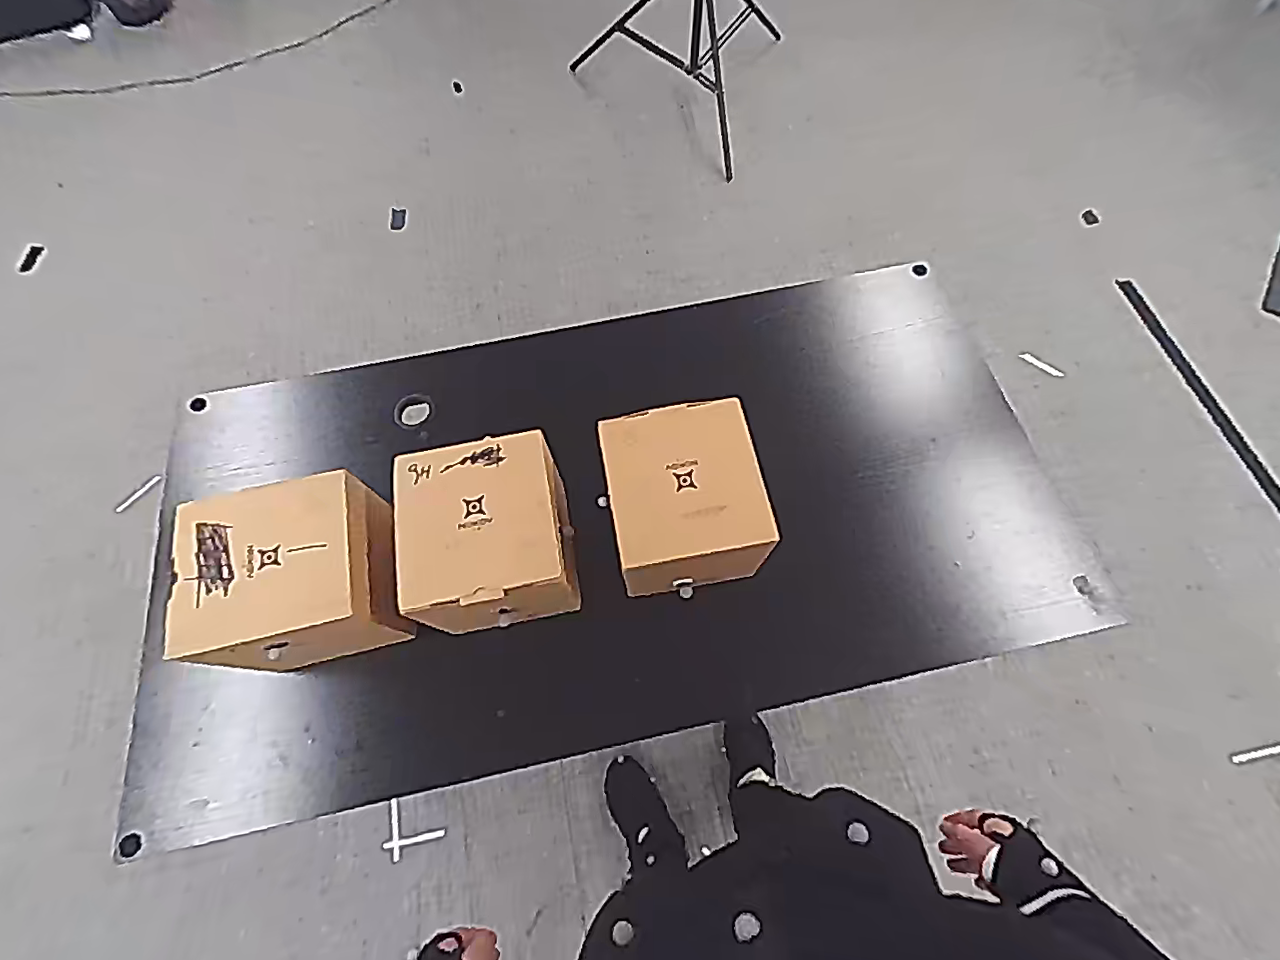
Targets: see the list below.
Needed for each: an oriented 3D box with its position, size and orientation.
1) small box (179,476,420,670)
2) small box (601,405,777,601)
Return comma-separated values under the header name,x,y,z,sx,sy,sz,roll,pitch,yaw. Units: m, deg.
name,x,y,z,sx,sy,sz,roll,pitch,yaw
small box,-0.382,0.117,0.635,0.179,0.176,0.168,-13,67,-5
small box,0.051,0.036,0.664,0.168,0.176,0.179,-11,68,-2
